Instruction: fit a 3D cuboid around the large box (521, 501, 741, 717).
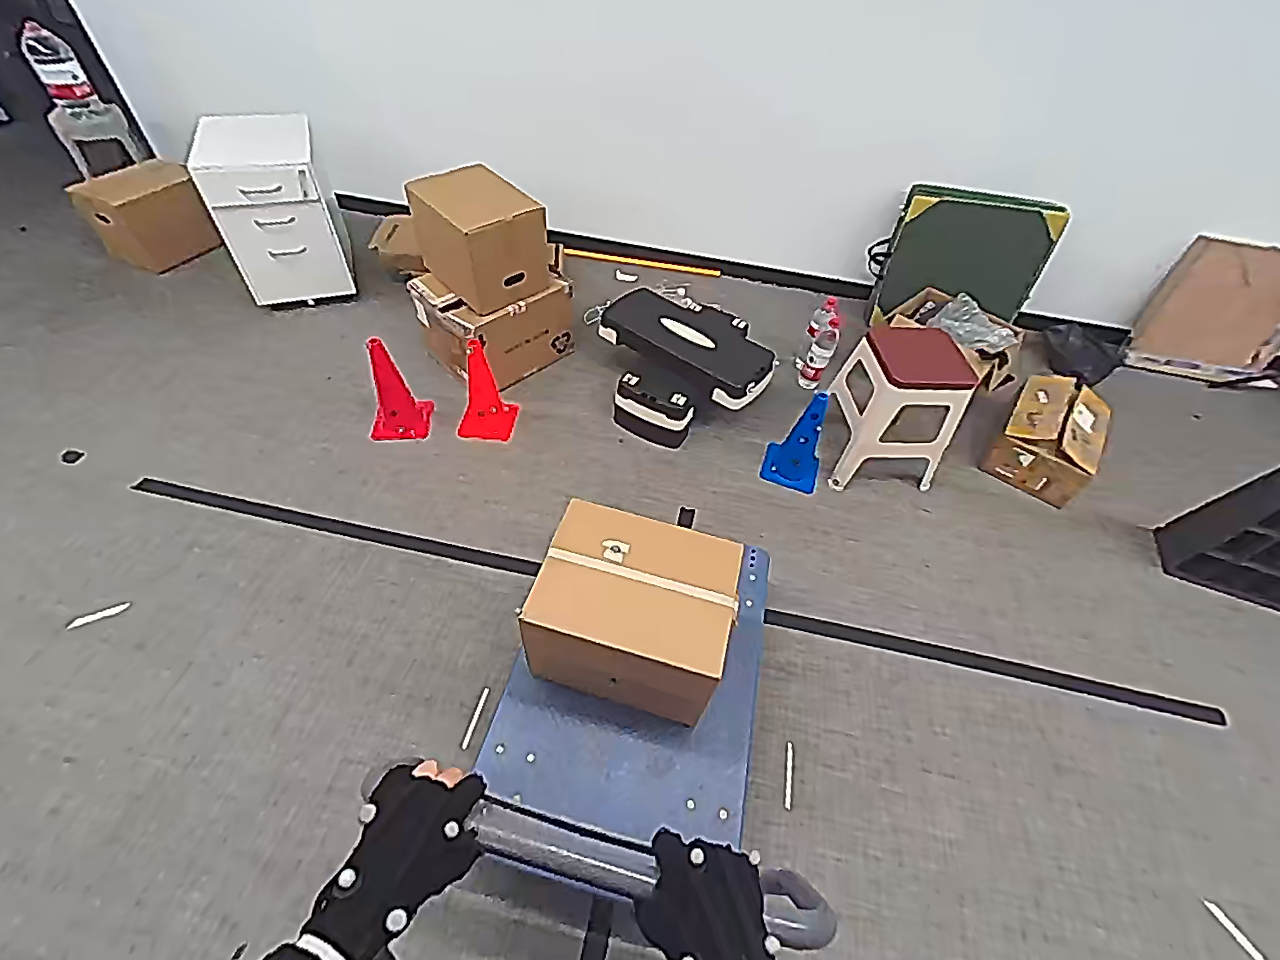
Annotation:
[{"bbox_3d":[-0.012,0.300,1.239,0.408,0.320,0.320,15,51,7],"label":"large box"}]
